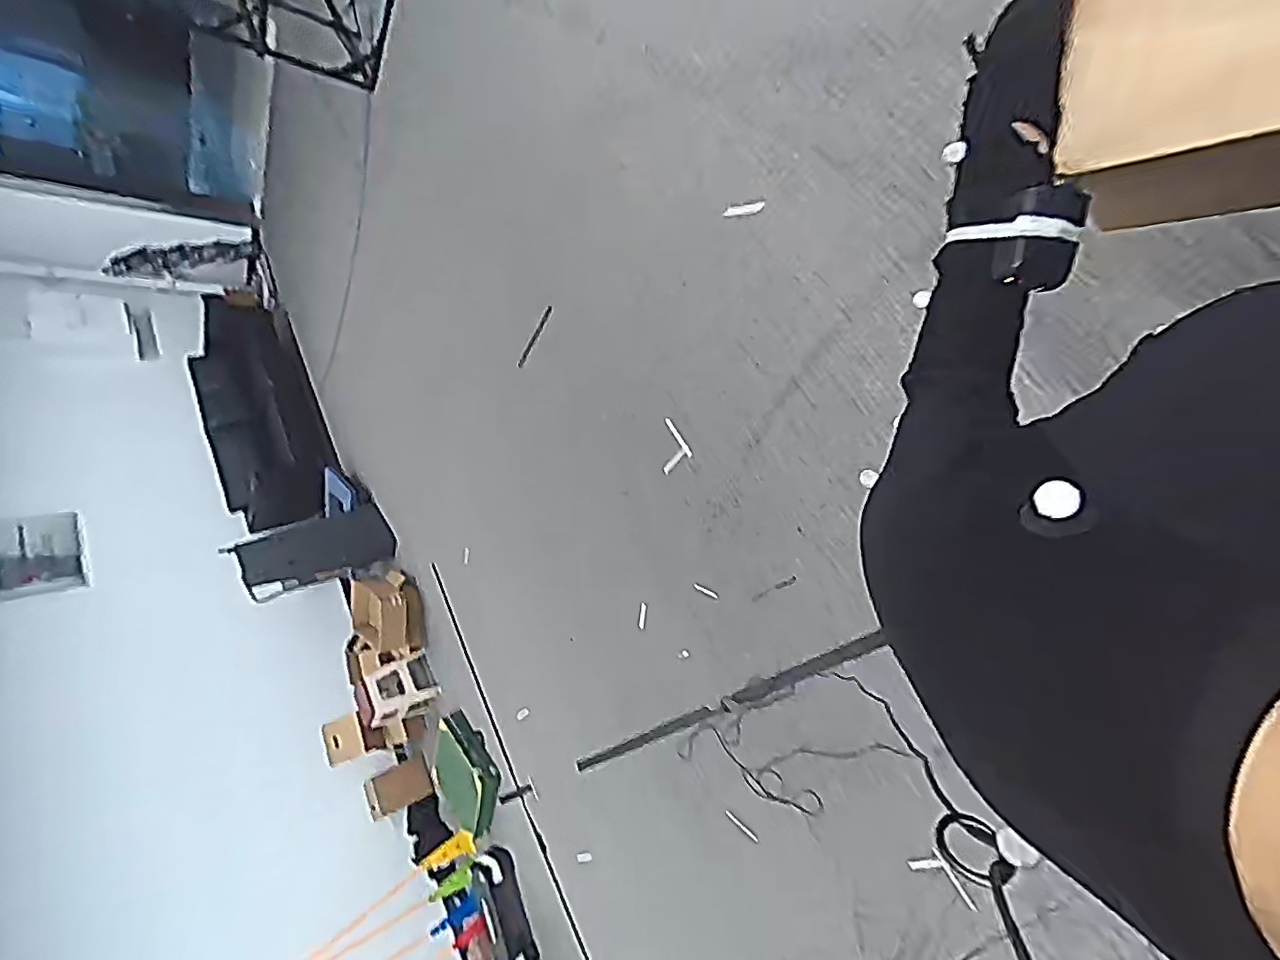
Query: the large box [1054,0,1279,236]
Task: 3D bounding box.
[{"bbox_3d":[0.550,-0.386,0.357,0.408,0.320,0.320,7,106,43],"label":"large box"}]
